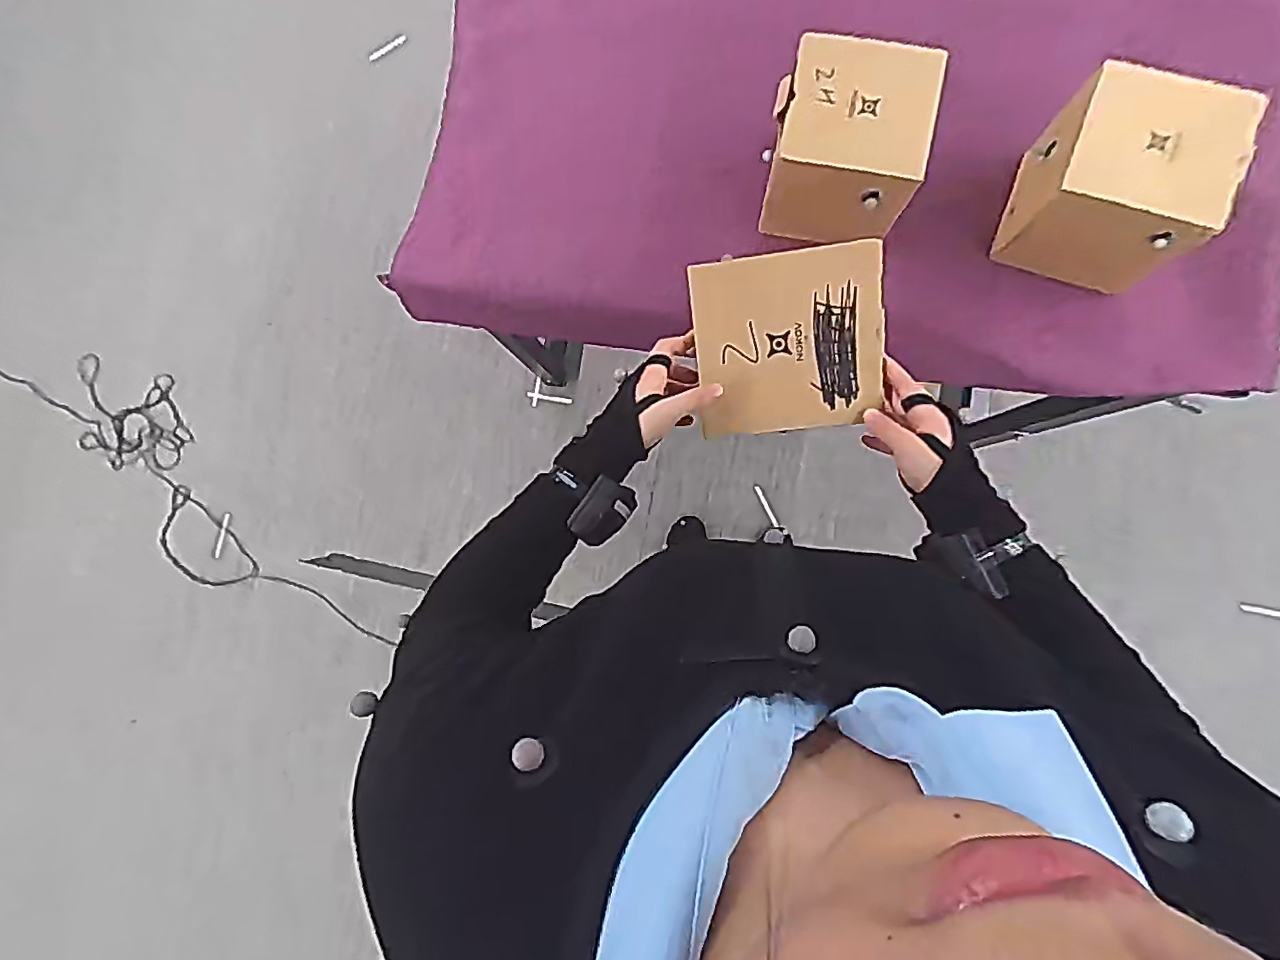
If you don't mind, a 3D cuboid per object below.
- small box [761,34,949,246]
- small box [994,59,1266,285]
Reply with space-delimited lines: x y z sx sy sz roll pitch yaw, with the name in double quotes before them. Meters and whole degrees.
"small box" 0.273 -0.438 0.723 0.179 0.176 0.168 12 86 7
"small box" 0.594 -0.373 0.685 0.179 0.176 0.168 20 88 7
